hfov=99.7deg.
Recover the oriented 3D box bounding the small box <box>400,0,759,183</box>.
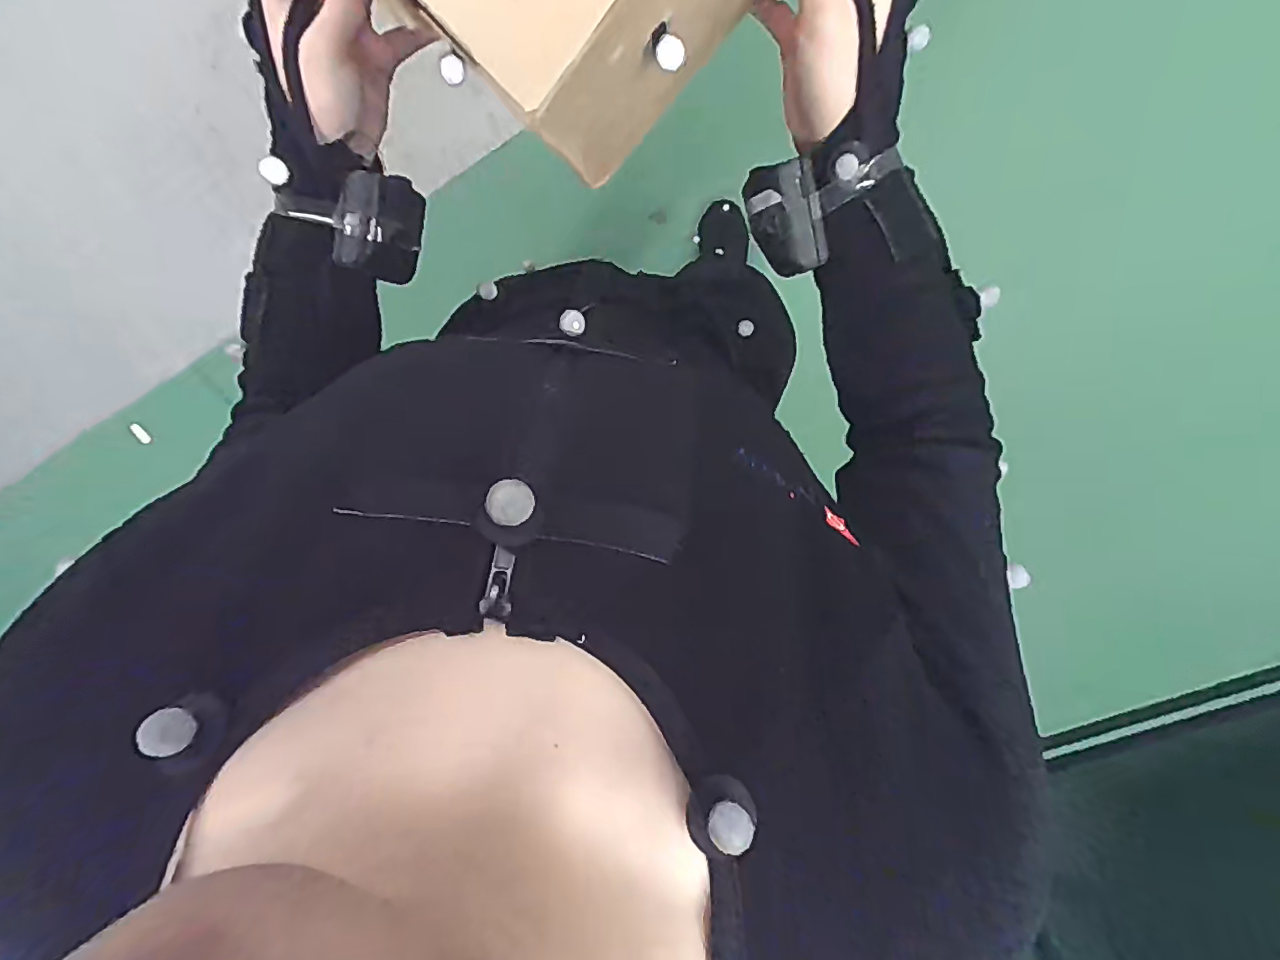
[{"bbox_3d":[-0.035,-0.287,0.272,0.168,0.176,0.179,44,108,-10],"label":"small box"}]
